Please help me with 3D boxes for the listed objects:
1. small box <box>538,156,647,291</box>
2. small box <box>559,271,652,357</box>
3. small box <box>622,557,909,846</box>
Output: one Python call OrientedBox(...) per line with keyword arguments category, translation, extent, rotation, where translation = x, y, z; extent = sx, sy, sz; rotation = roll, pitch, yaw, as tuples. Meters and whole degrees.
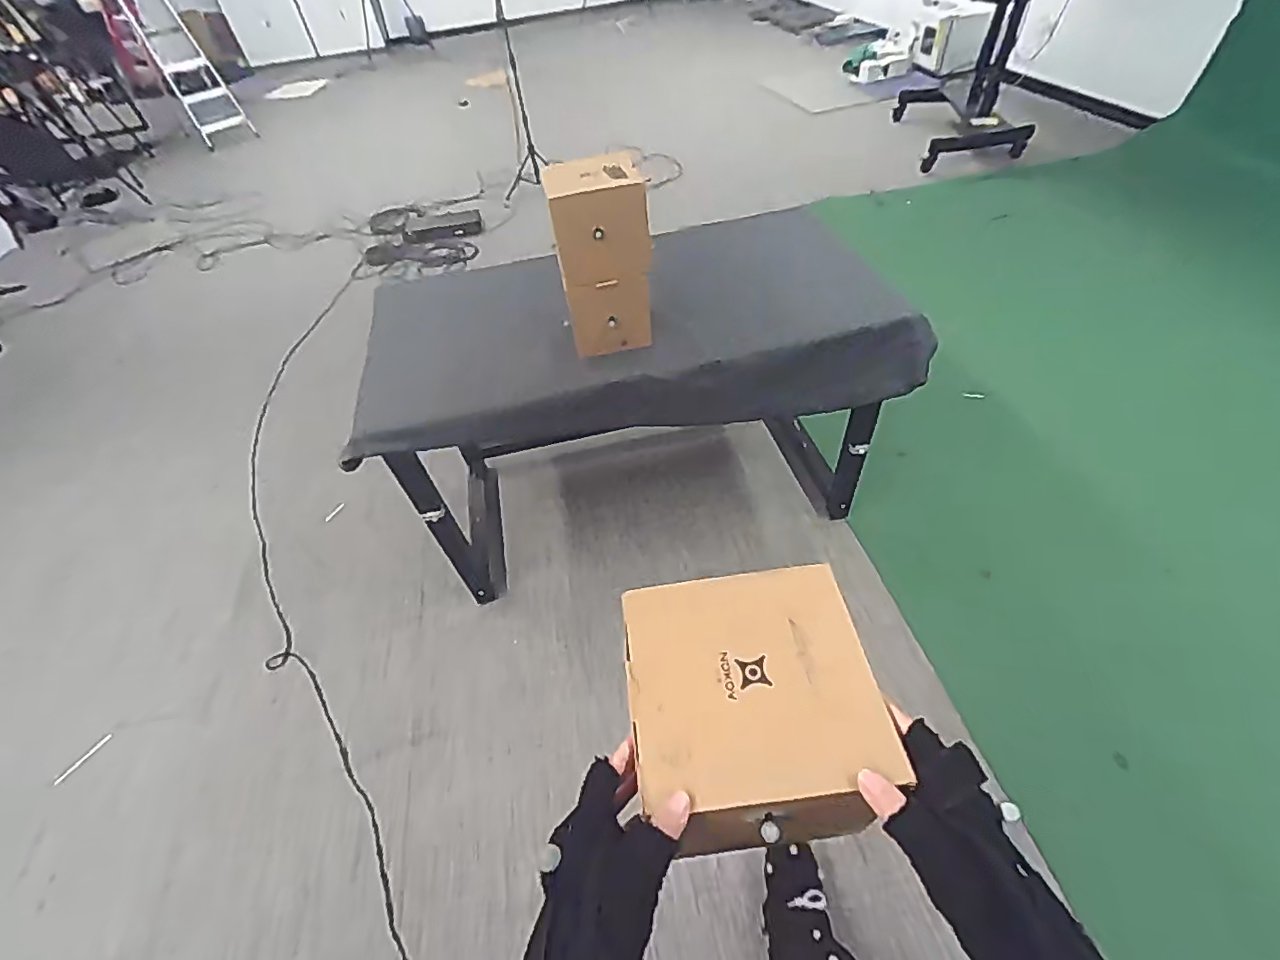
OrientedBox(category="small box", translation=(-0.087, -0.492, 1.044), extent=(0.179, 0.176, 0.168), rotation=(-14, 48, -2))
OrientedBox(category="small box", translation=(-0.075, -0.384, 1.168), extent=(0.168, 0.176, 0.179), rotation=(-13, 49, -3))
OrientedBox(category="small box", translation=(0.088, 0.191, 0.457), extent=(0.179, 0.176, 0.168), rotation=(-9, 48, -1))
